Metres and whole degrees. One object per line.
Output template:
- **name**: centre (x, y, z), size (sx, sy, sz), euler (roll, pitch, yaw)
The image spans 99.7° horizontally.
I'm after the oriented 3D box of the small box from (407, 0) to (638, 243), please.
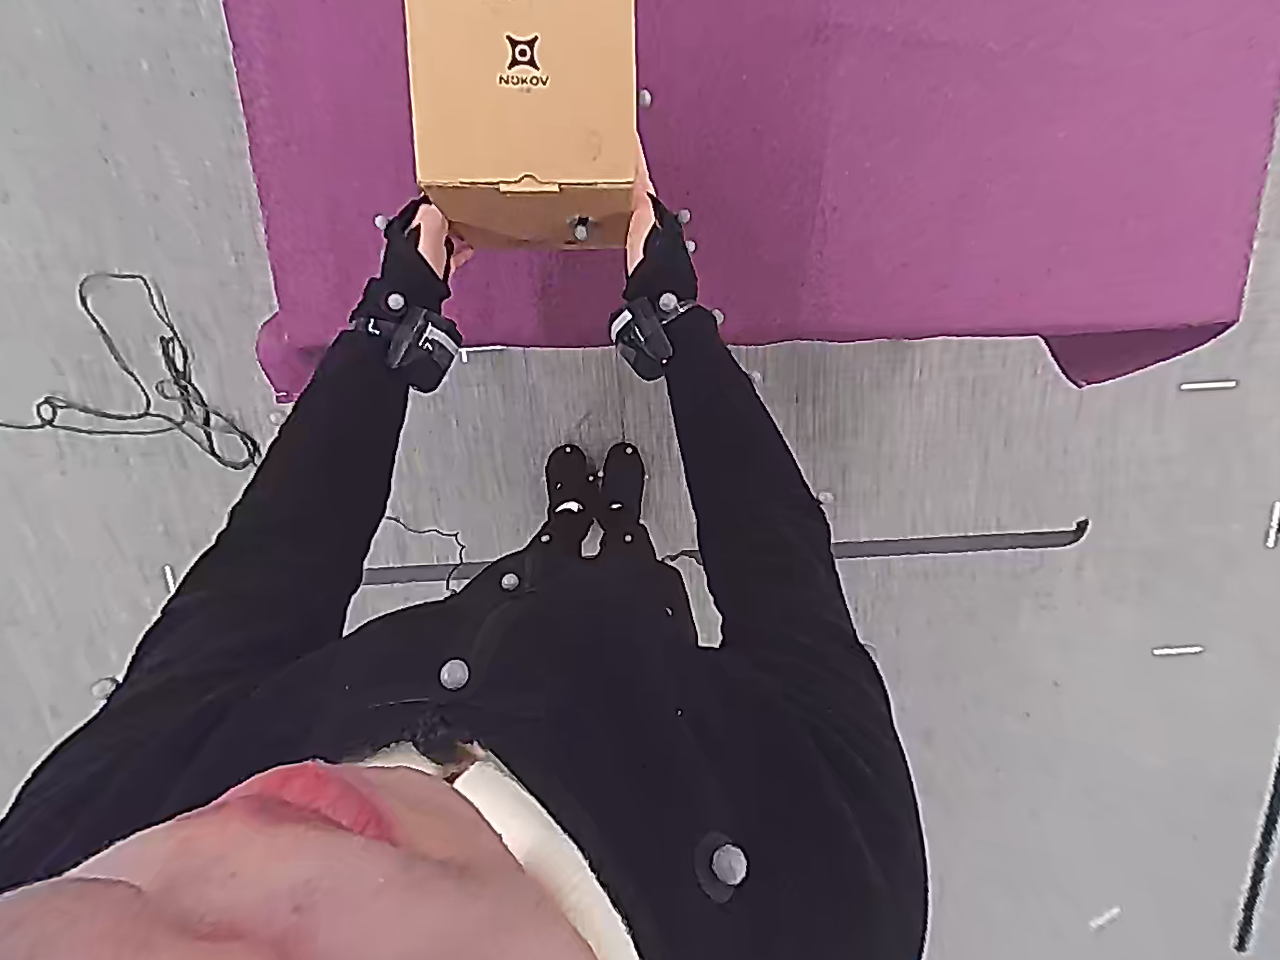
- **small box**: centre (-0.087, -0.316, 0.467), size (0.168, 0.176, 0.179), euler (-1, 98, -3)
